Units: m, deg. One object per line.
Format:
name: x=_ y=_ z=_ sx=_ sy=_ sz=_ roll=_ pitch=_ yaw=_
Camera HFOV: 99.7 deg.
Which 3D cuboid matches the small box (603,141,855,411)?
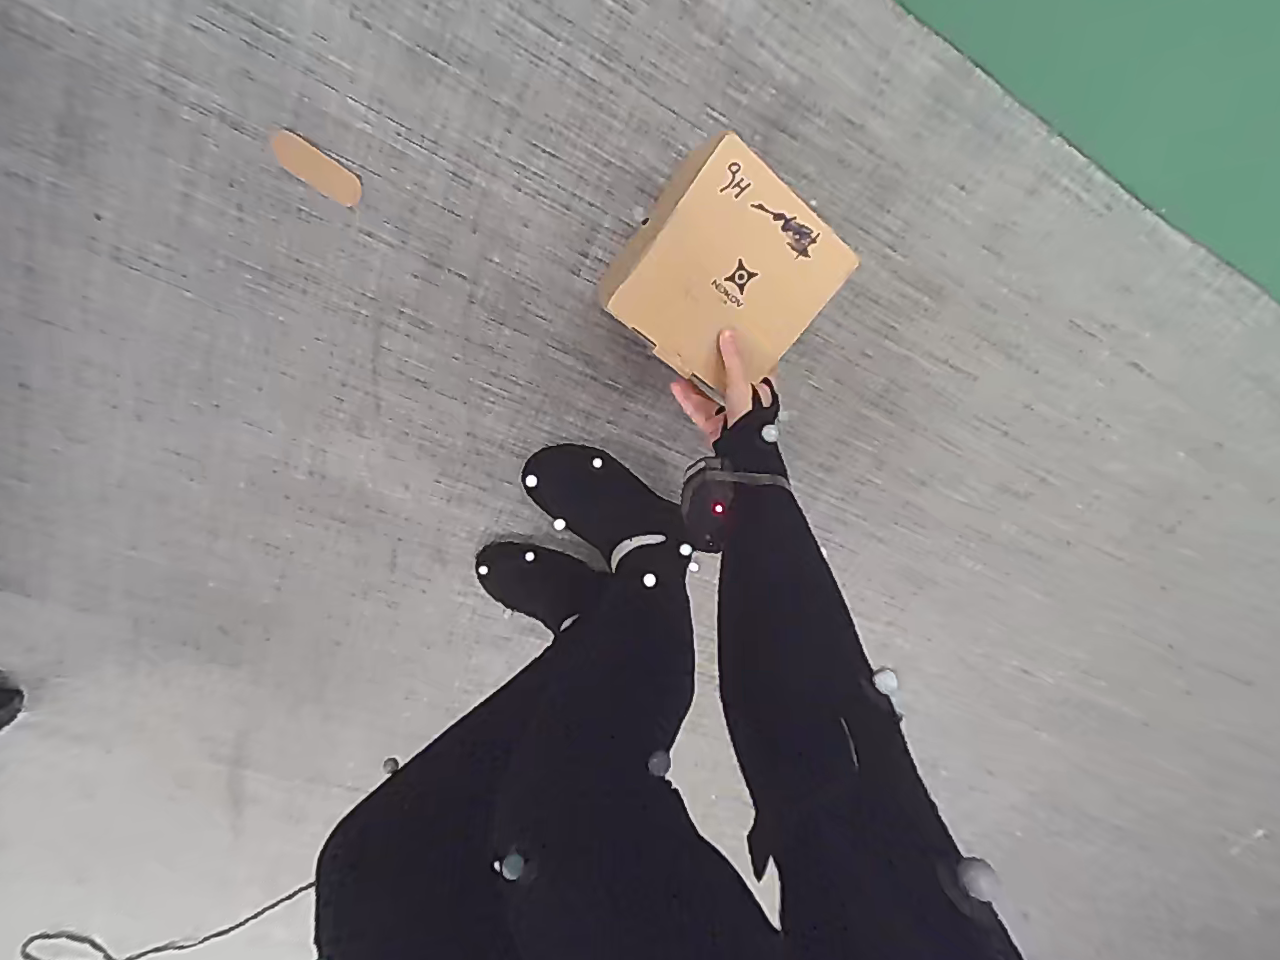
small box: x=0.076 y=-0.207 z=0.561 sx=0.168 sy=0.176 sz=0.179 roll=33 pitch=109 yaw=-21
